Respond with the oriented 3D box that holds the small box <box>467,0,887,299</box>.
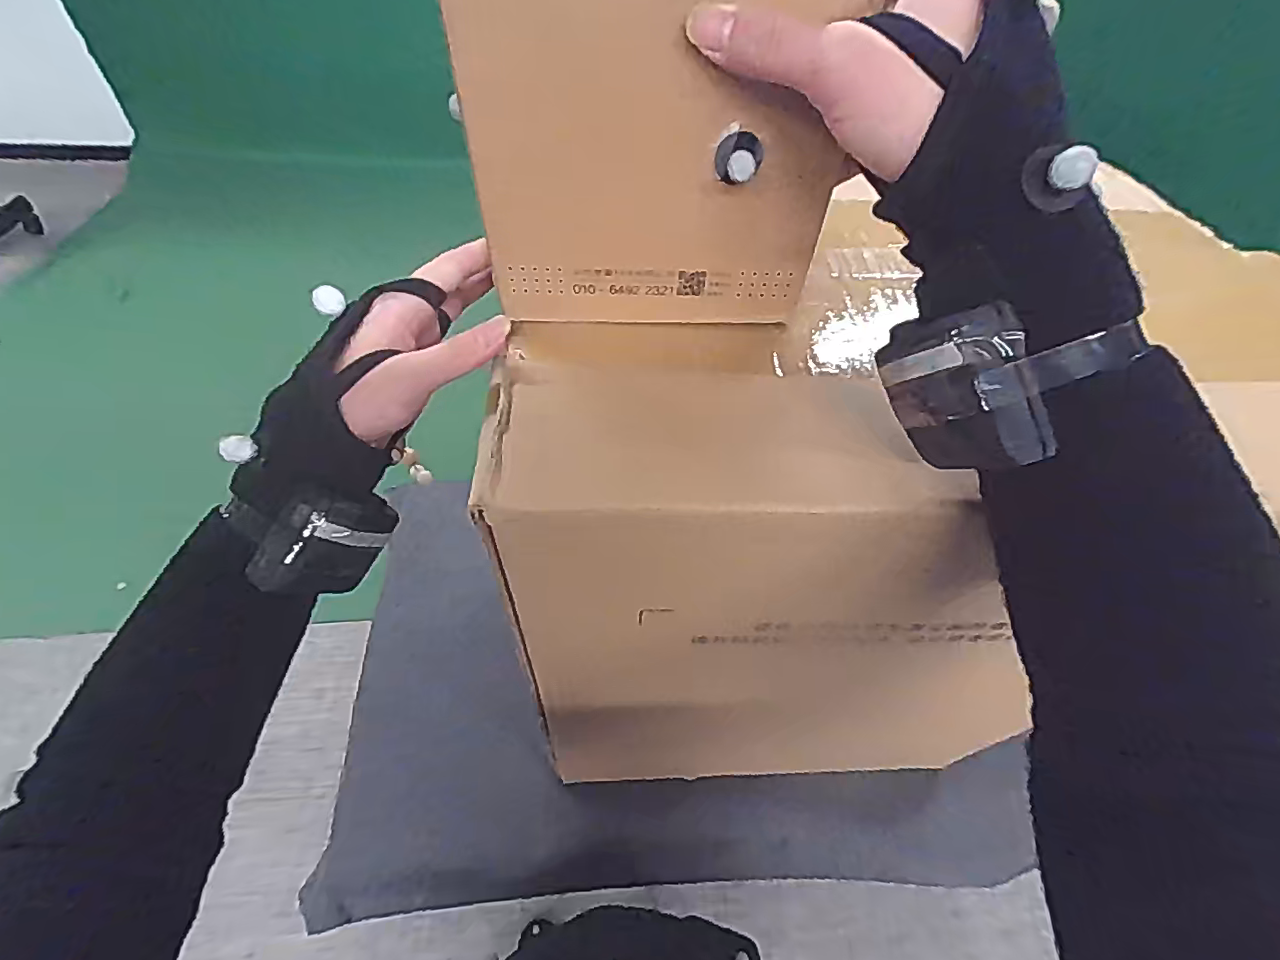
[{"bbox_3d":[0.012,-0.214,0.287,0.168,0.176,0.179,1,51,-4],"label":"small box"}]
